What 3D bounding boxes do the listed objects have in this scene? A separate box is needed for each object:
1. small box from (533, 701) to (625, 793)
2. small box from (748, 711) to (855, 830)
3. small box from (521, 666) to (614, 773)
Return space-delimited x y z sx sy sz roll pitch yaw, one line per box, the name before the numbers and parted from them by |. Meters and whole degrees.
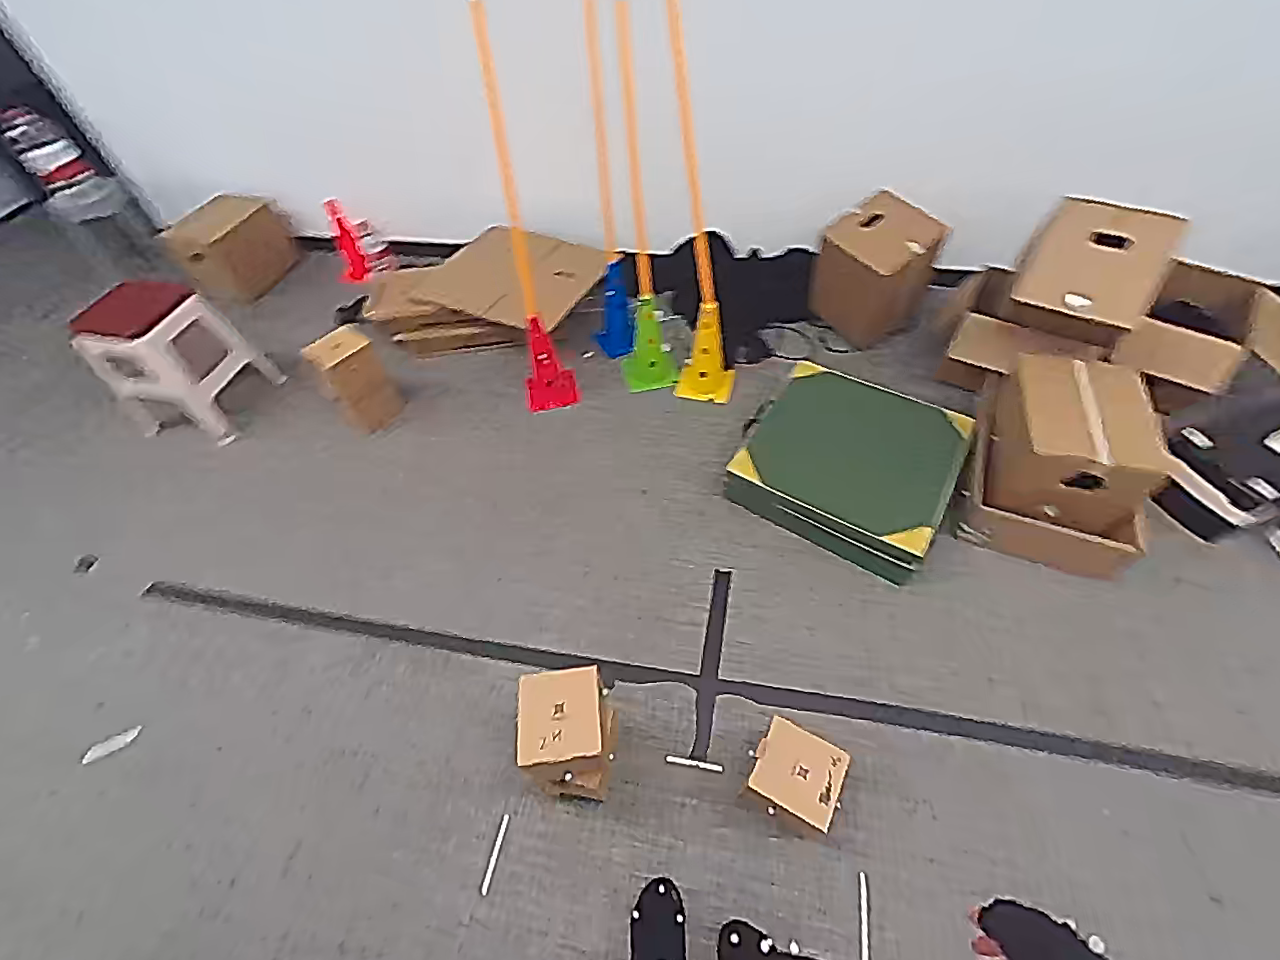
small box | -0.134 0.624 1.281 0.168 0.176 0.179 6 53 9
small box | 0.356 0.659 1.217 0.179 0.176 0.168 22 57 18
small box | -0.147 0.515 1.158 0.168 0.176 0.179 -5 54 2
